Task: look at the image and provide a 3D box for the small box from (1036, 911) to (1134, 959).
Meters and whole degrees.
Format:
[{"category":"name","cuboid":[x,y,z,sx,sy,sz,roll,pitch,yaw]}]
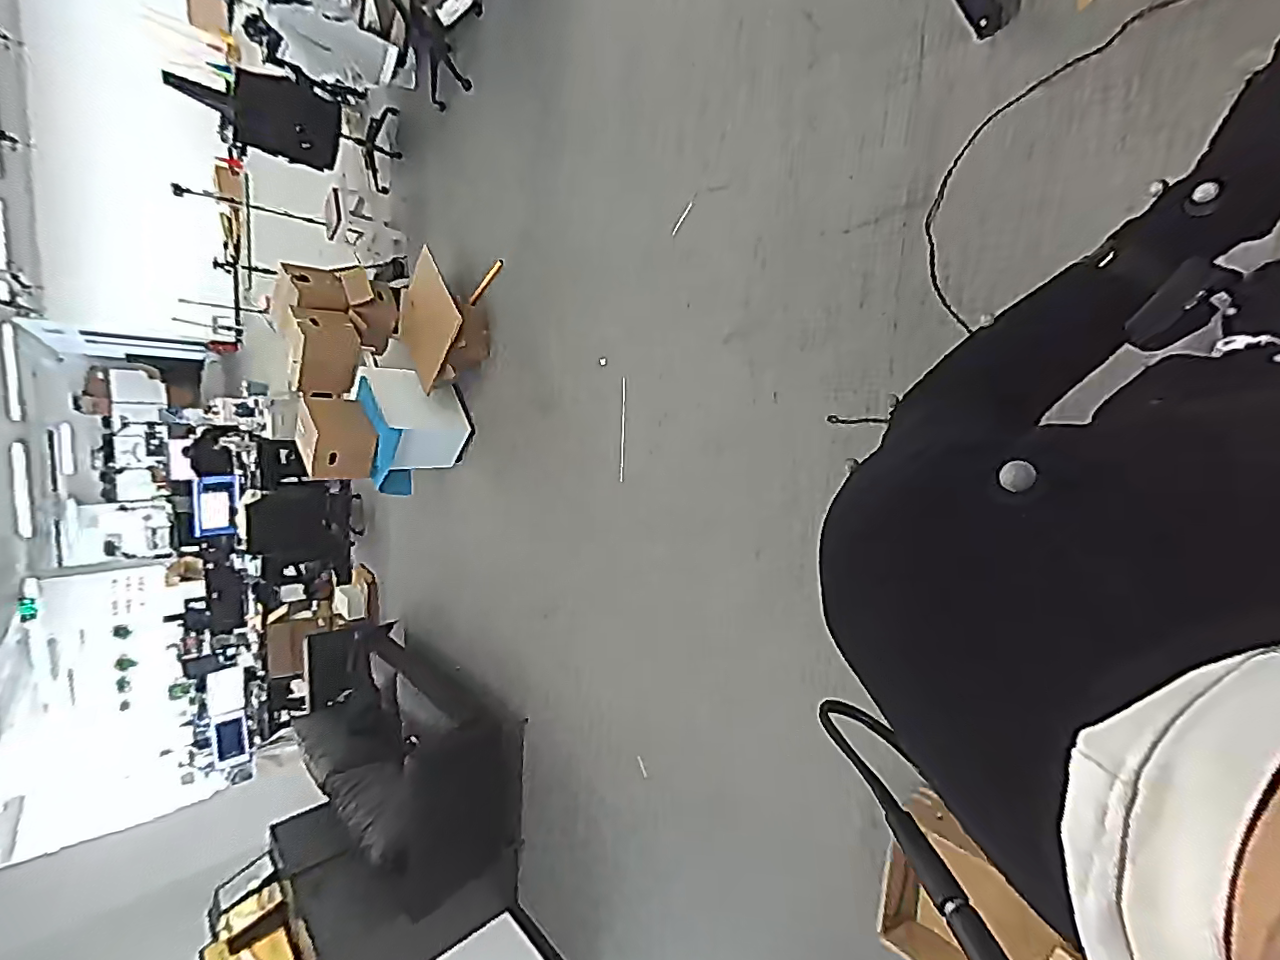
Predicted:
[{"category":"small box","cuboid":[1.012,1.145,1.226,0.168,0.176,0.179,27,113,43]}]
